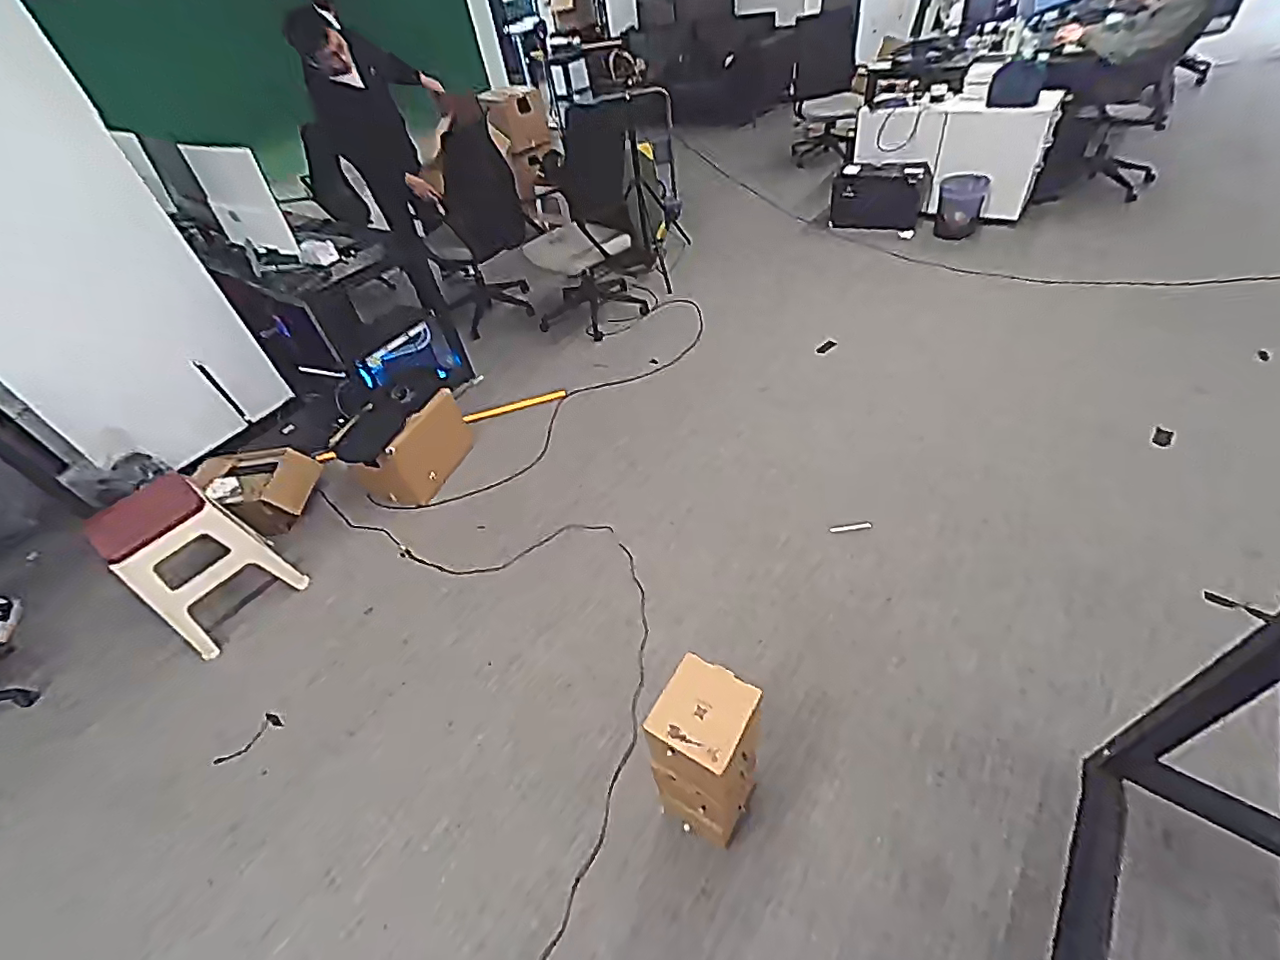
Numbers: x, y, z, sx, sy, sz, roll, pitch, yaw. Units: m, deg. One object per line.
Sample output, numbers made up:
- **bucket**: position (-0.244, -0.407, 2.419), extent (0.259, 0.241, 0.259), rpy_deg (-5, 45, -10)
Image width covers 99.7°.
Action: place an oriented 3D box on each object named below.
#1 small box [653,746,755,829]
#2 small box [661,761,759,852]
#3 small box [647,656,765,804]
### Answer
- **small box**: position (0.148, 0.615, 1.175), extent (0.168, 0.176, 0.179), rpy_deg (18, 49, 26)
- **small box**: position (0.168, 0.735, 1.283), extent (0.168, 0.176, 0.179), rpy_deg (20, 52, 29)
- **small box**: position (0.133, 0.492, 1.067), extent (0.168, 0.176, 0.179), rpy_deg (20, 51, 28)
